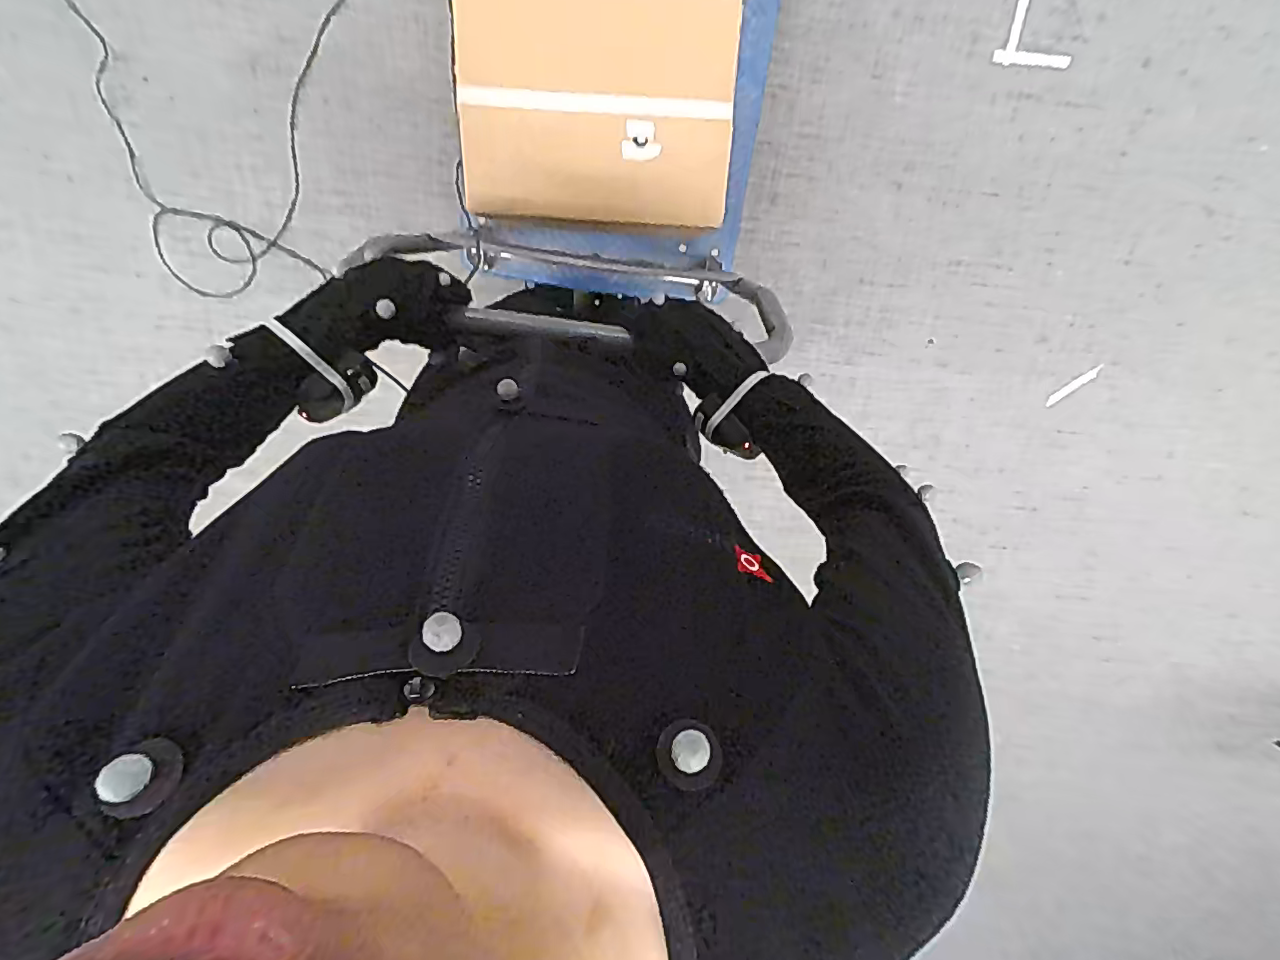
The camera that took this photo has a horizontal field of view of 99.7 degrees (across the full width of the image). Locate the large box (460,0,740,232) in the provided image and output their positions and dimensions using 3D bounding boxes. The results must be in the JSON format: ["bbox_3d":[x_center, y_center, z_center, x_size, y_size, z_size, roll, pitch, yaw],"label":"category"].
[{"bbox_3d":[-0.068,-0.620,0.949,0.408,0.320,0.320,1,112,-3],"label":"large box"}]
